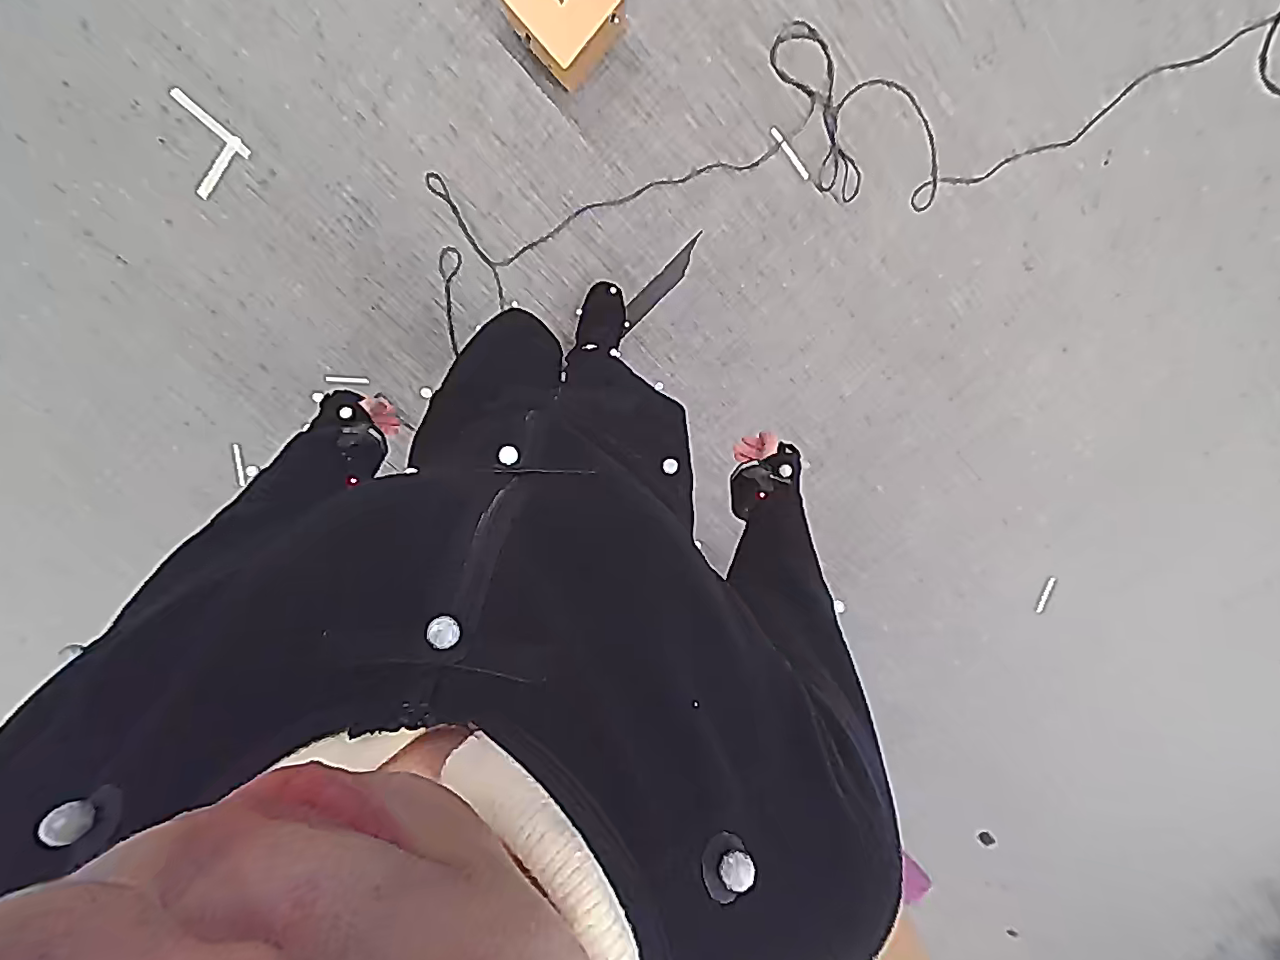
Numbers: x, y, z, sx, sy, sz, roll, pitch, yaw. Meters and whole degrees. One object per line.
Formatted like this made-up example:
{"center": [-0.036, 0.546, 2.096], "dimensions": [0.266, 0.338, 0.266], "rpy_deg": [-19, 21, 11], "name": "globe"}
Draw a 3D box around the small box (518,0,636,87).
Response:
{"center": [-0.124, -0.919, 1.027], "dimensions": [0.179, 0.176, 0.168], "rpy_deg": [40, 86, 1], "name": "small box"}
